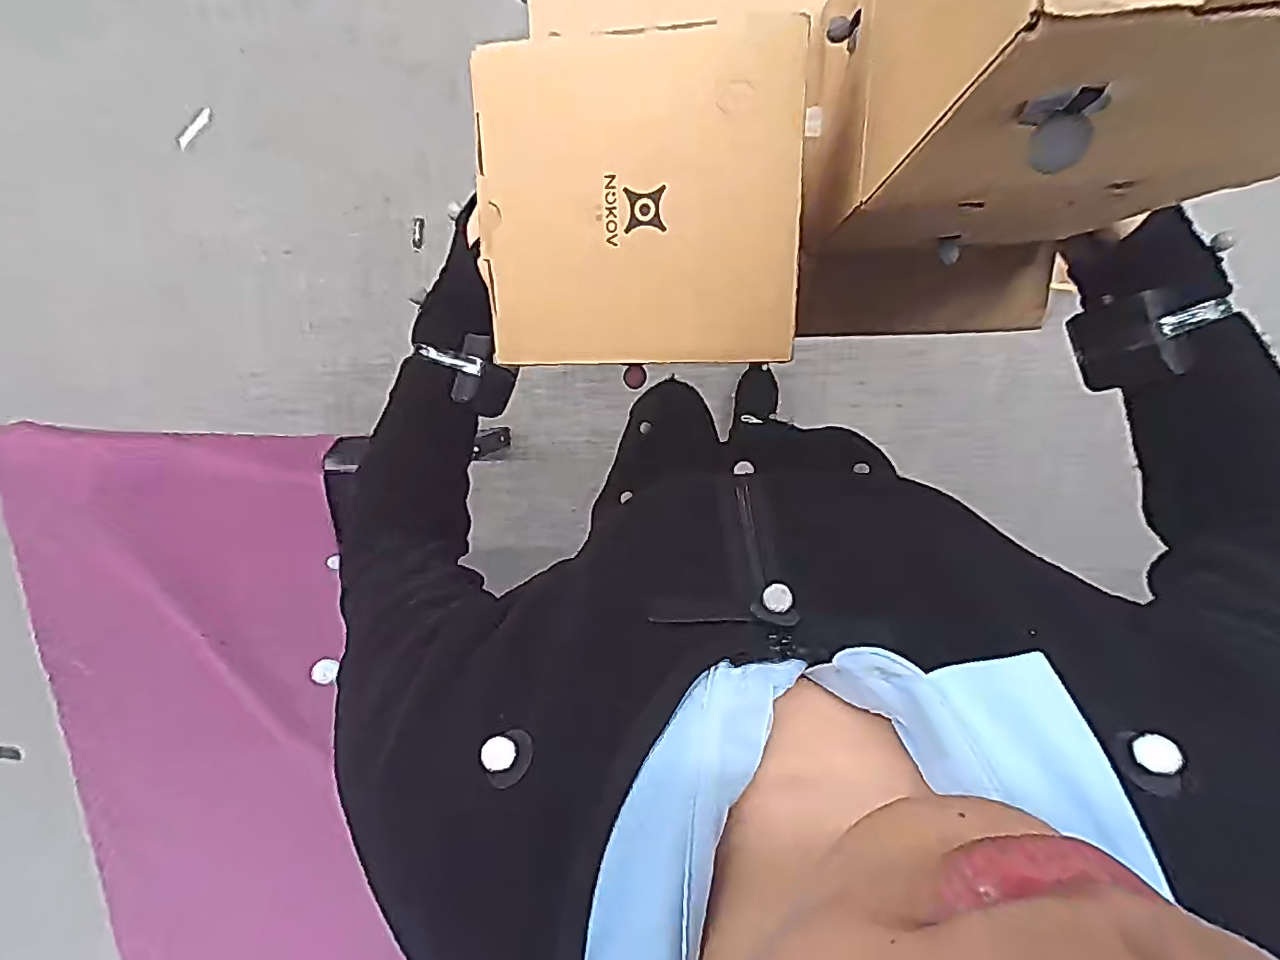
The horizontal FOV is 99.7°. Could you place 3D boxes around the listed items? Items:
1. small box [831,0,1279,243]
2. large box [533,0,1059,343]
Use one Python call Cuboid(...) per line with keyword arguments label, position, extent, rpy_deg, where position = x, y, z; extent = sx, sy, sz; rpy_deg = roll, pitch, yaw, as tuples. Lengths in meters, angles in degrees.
Cuboid(label="small box", position=(0.209, -0.247, 0.308), extent=(0.168, 0.176, 0.179), rpy_deg=(1, 105, 11))
Cuboid(label="large box", position=(0.142, -0.313, 0.559), extent=(0.408, 0.320, 0.320), rpy_deg=(0, 104, 10))
